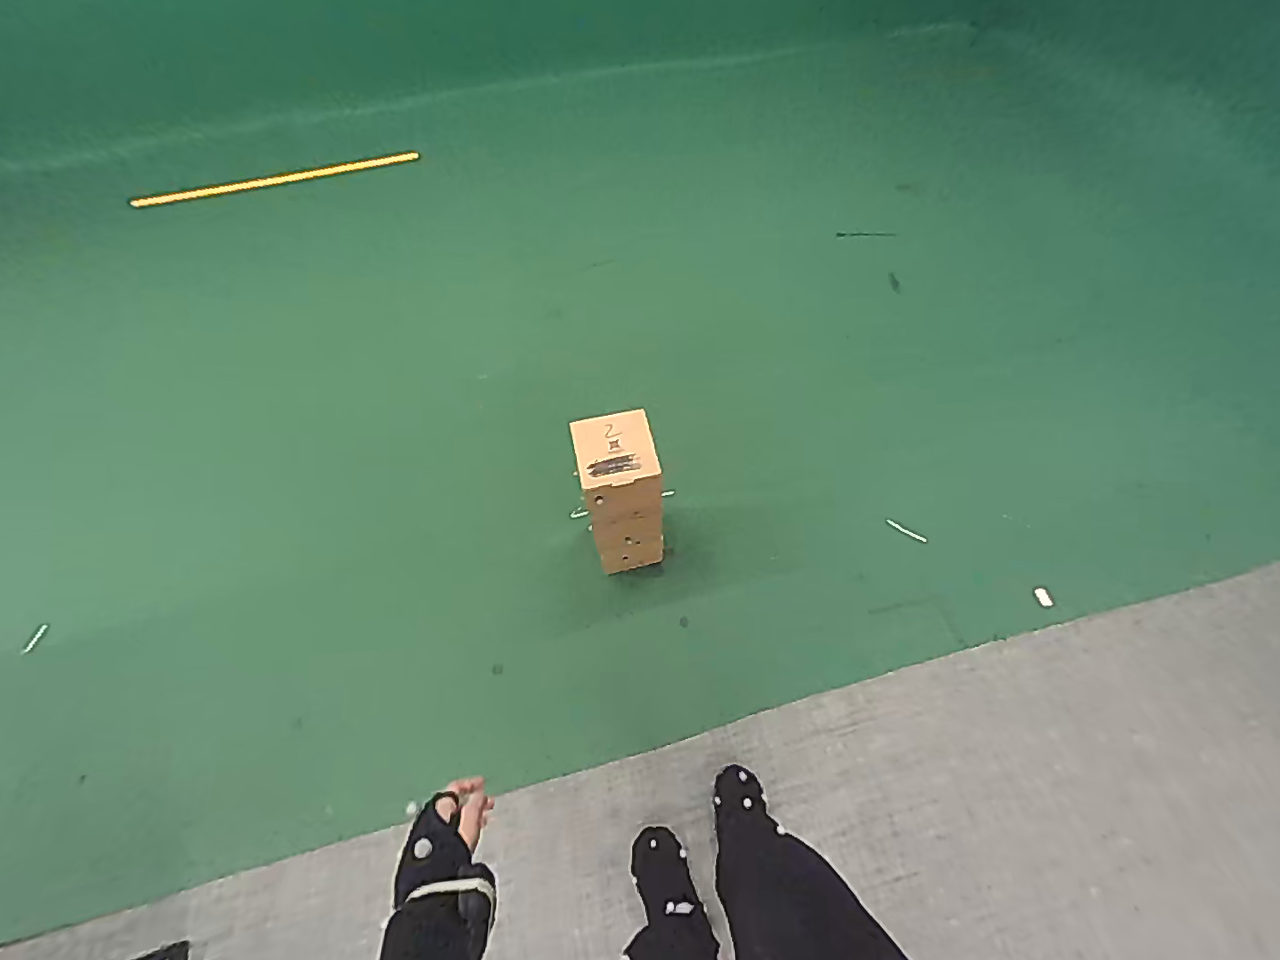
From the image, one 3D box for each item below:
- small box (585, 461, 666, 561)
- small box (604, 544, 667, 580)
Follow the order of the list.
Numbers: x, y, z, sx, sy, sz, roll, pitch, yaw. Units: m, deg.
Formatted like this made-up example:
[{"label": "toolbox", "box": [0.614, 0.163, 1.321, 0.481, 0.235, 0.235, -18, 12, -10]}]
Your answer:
[{"label": "small box", "box": [-0.035, 0.080, 1.345, 0.168, 0.176, 0.179, -12, 60, -3]}, {"label": "small box", "box": [-0.025, 0.163, 1.488, 0.168, 0.176, 0.179, -14, 60, -5]}]
